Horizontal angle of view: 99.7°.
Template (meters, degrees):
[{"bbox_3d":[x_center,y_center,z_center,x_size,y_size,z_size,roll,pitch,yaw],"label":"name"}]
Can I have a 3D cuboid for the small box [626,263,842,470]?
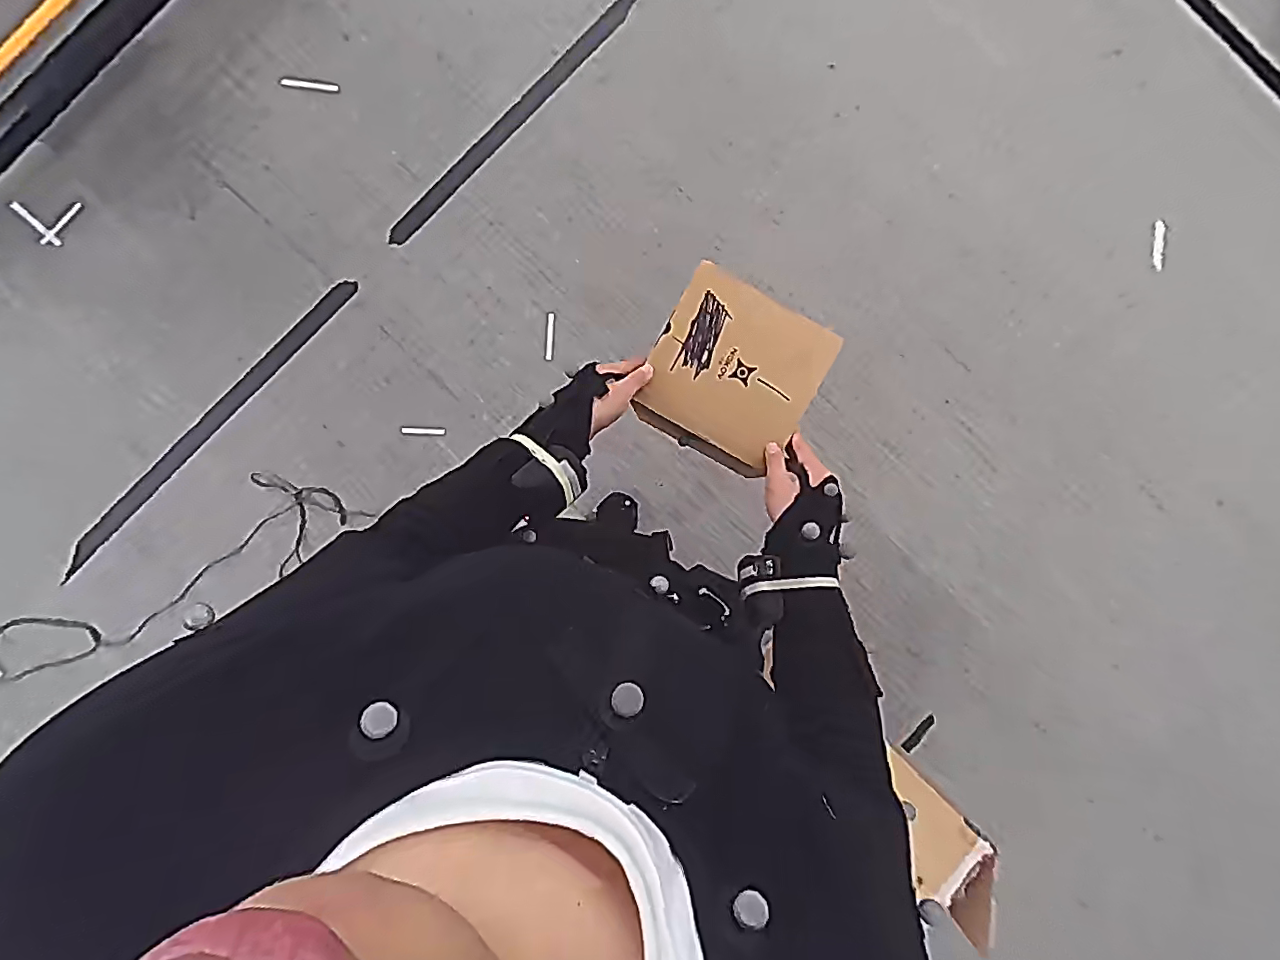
[{"bbox_3d":[0.103,-0.118,0.647,0.179,0.176,0.168,29,91,3],"label":"small box"}]
